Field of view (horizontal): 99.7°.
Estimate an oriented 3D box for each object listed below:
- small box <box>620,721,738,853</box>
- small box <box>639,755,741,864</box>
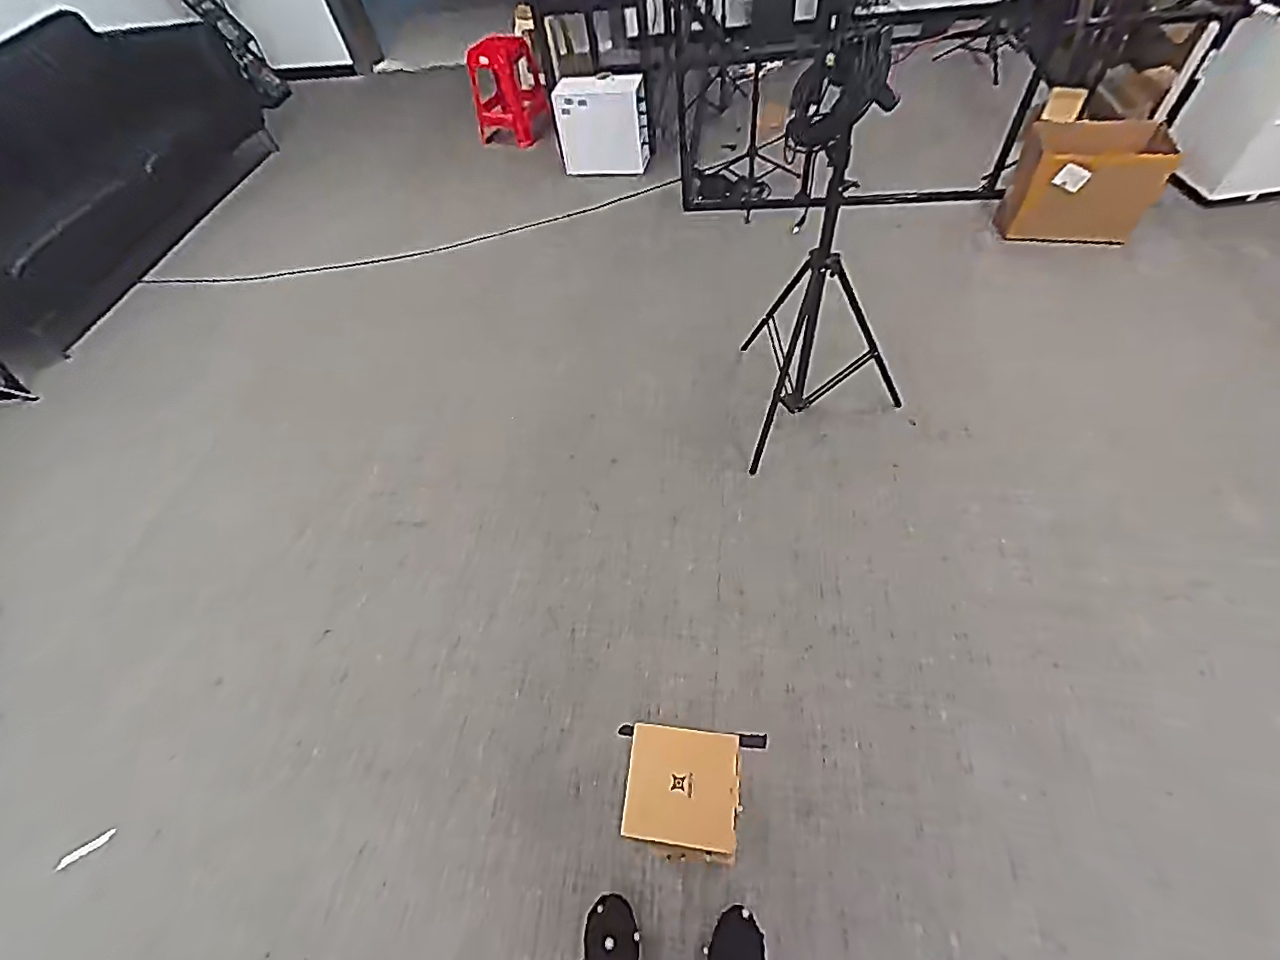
[{"bbox_3d":[0.075,0.525,0.919,0.179,0.176,0.168,2,55,9],"label":"small box"},{"bbox_3d":[0.103,0.622,1.047,0.168,0.176,0.179,6,55,11],"label":"small box"}]
